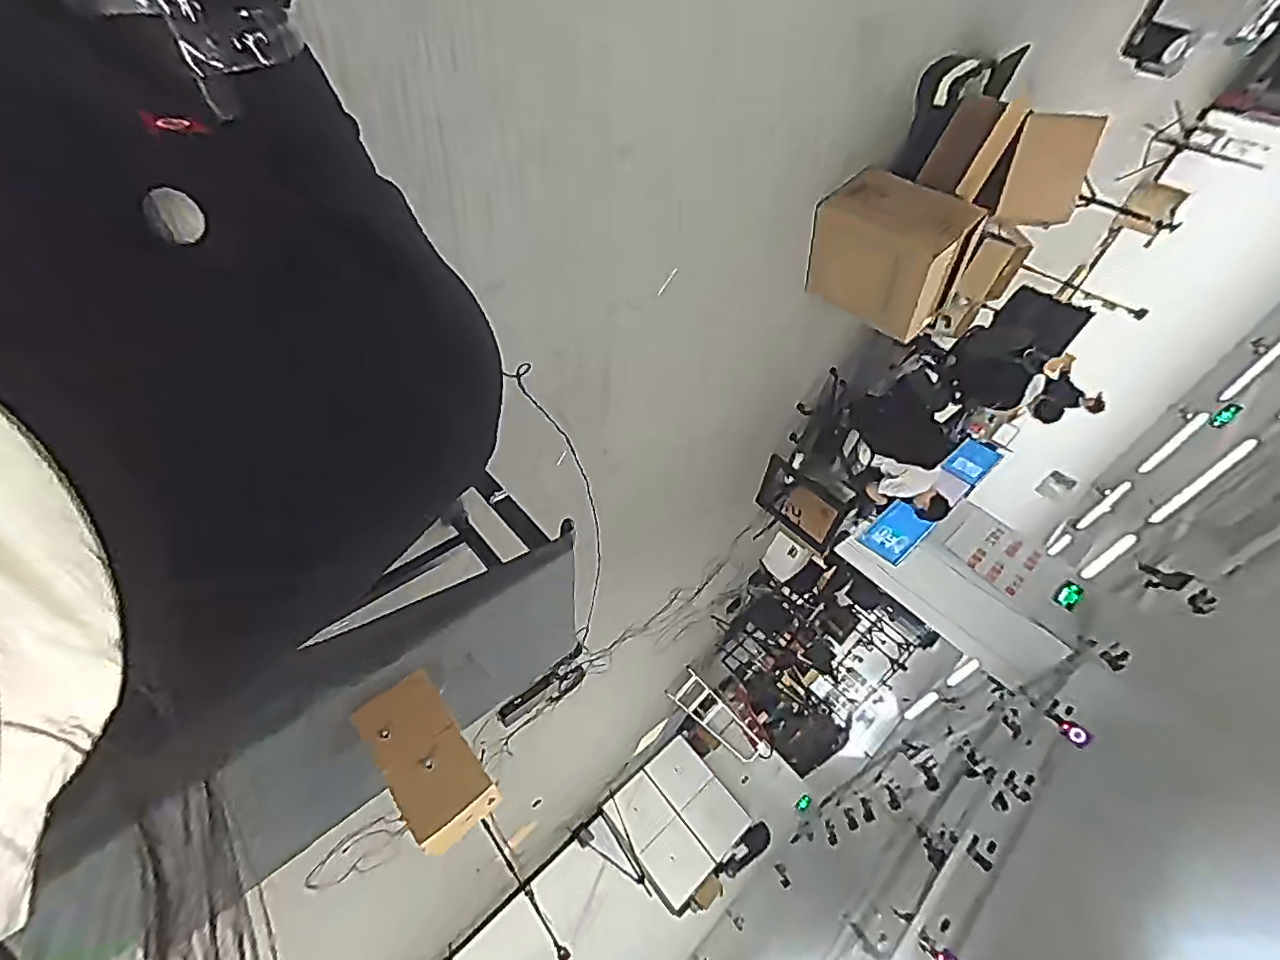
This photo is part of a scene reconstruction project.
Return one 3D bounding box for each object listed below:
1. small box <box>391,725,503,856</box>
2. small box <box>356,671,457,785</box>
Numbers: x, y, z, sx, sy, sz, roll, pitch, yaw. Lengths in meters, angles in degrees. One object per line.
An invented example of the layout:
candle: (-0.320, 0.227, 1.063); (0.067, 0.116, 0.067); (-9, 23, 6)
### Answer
small box: (-0.435, 0.696, 1.217); (0.179, 0.176, 0.168); (-32, 150, -29)
small box: (-0.546, 0.596, 1.285); (0.179, 0.176, 0.168); (-33, 151, -30)
